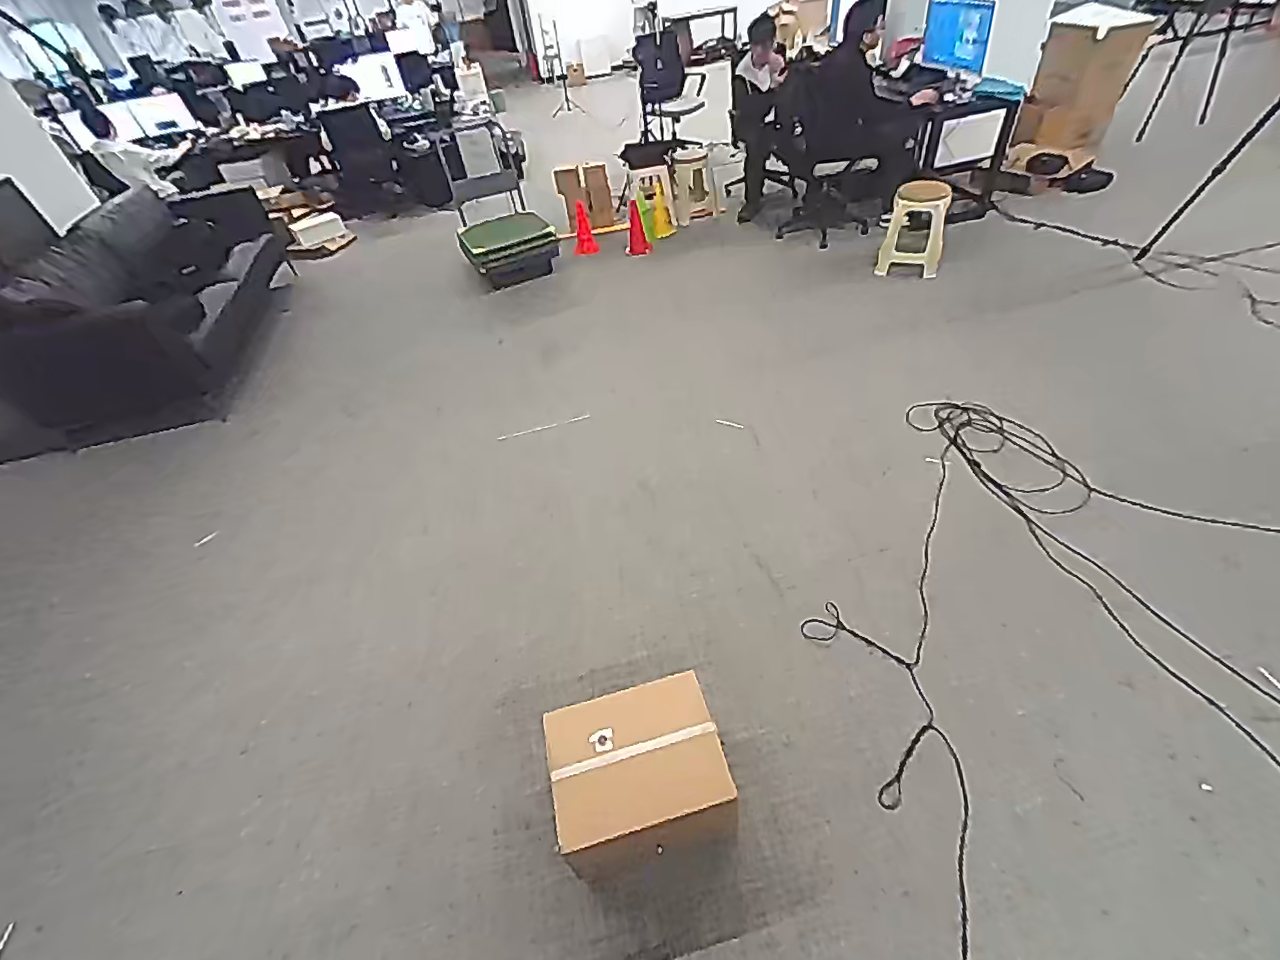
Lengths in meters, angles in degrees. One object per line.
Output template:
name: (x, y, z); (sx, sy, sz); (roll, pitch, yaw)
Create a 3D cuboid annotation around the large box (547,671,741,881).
large box: (0.014, 0.756, 1.384); (0.408, 0.320, 0.320); (-16, 43, -6)
